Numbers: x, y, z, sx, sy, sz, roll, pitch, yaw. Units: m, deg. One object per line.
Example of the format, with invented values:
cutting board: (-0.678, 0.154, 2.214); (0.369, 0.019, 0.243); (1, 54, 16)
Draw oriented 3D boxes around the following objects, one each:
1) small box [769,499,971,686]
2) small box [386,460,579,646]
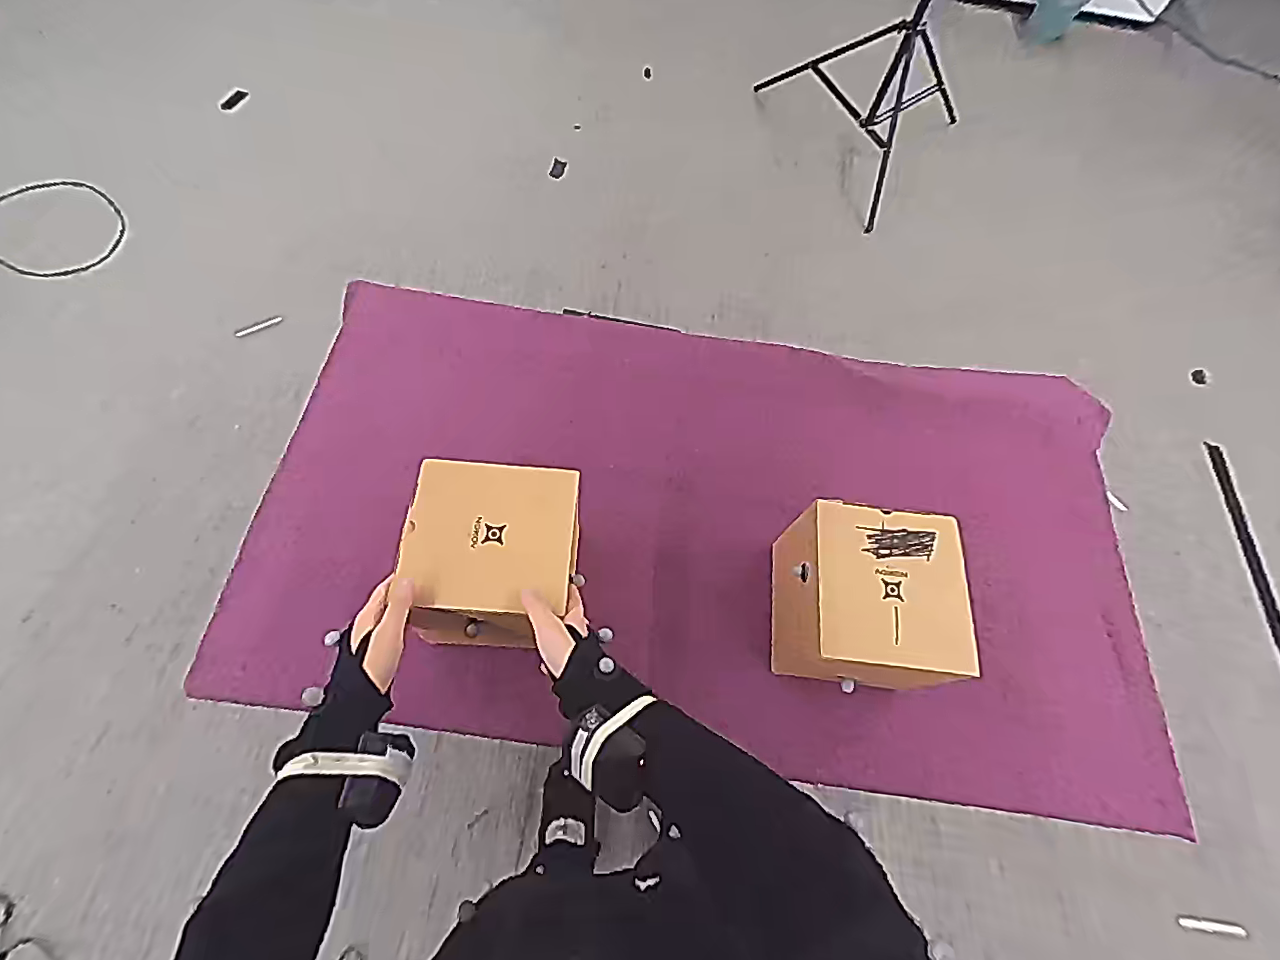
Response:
small box: (0.259, 0.144, 0.655); (0.168, 0.176, 0.179); (8, 65, -1)
small box: (-0.165, 0.094, 0.636); (0.179, 0.176, 0.168); (3, 61, -3)
